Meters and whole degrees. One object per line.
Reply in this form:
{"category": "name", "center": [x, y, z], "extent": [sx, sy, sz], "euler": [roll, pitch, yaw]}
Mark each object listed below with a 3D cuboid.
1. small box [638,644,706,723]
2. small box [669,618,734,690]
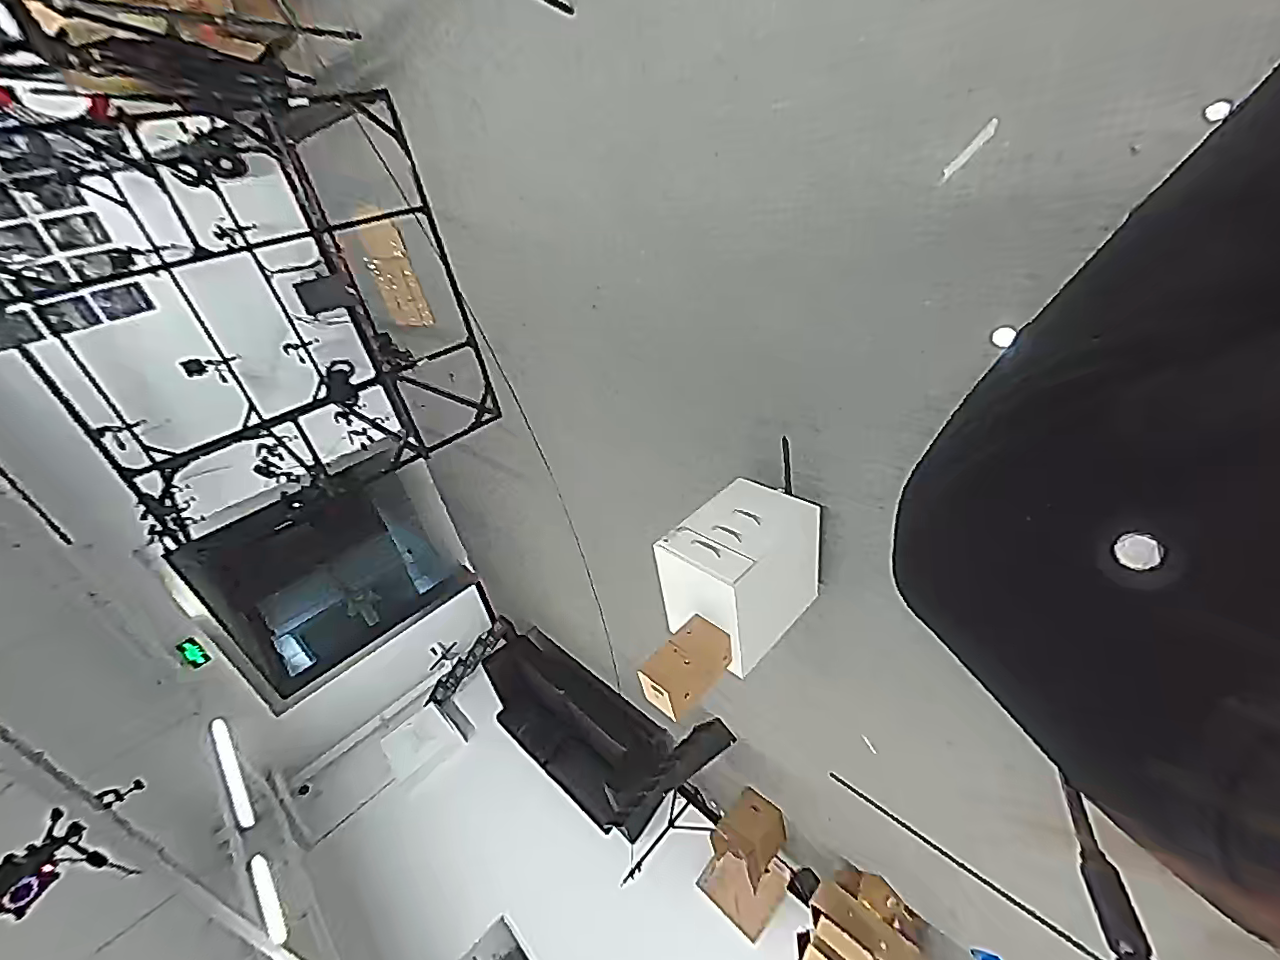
{"category": "small box", "center": [0.123, 0.744, 1.994], "extent": [0.168, 0.176, 0.179], "euler": [22, 137, 44]}
{"category": "small box", "center": [0.238, 0.659, 2.075], "extent": [0.179, 0.176, 0.168], "euler": [25, 138, 41]}
